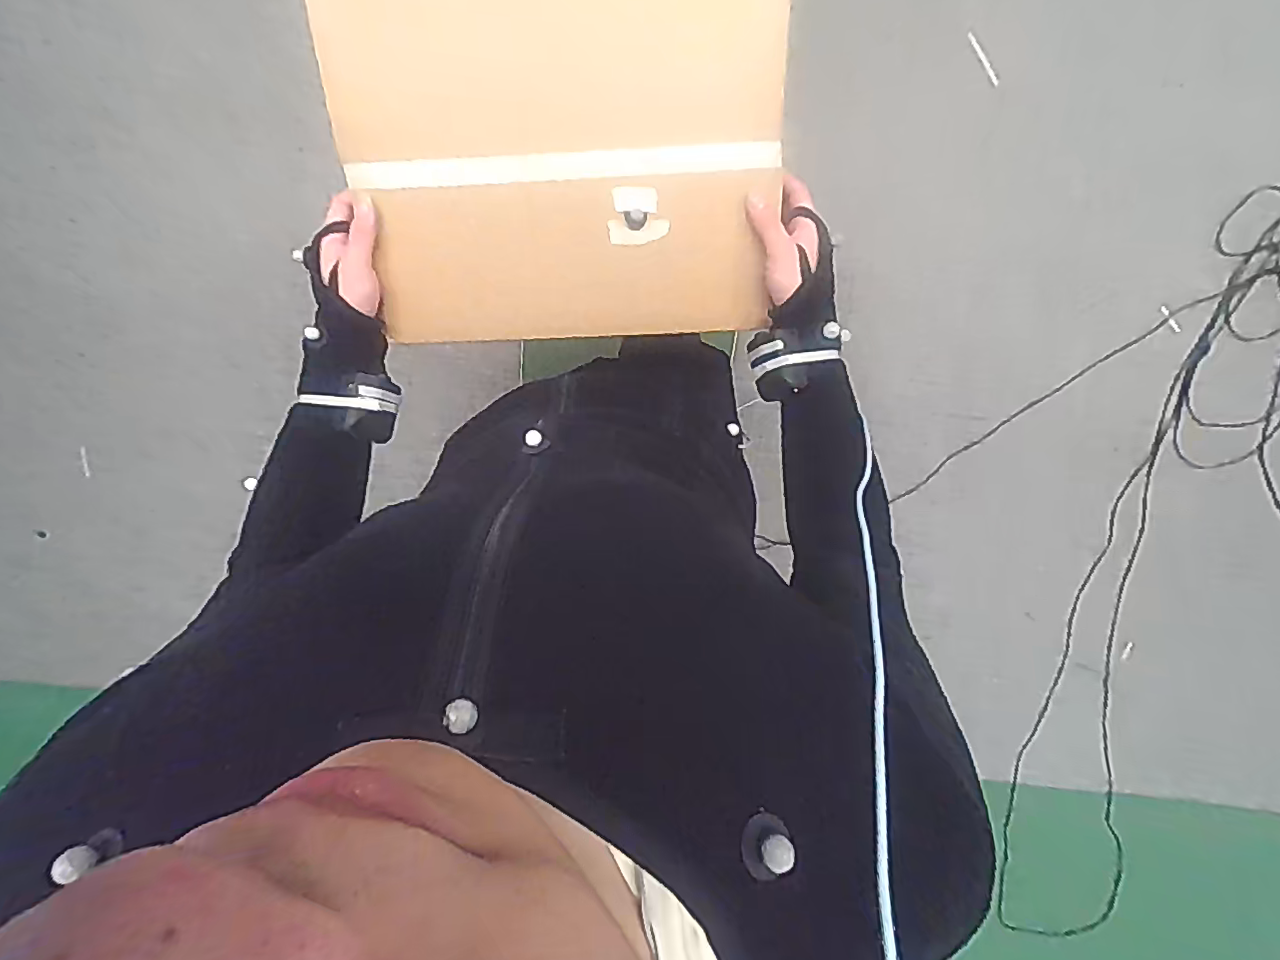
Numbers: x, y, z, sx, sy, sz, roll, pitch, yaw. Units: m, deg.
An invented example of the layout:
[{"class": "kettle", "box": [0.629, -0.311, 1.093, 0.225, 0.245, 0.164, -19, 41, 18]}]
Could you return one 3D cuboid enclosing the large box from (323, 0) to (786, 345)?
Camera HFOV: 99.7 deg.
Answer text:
[{"class": "large box", "box": [-0.070, -0.355, 0.651, 0.408, 0.320, 0.320, -3, 115, 0]}]
